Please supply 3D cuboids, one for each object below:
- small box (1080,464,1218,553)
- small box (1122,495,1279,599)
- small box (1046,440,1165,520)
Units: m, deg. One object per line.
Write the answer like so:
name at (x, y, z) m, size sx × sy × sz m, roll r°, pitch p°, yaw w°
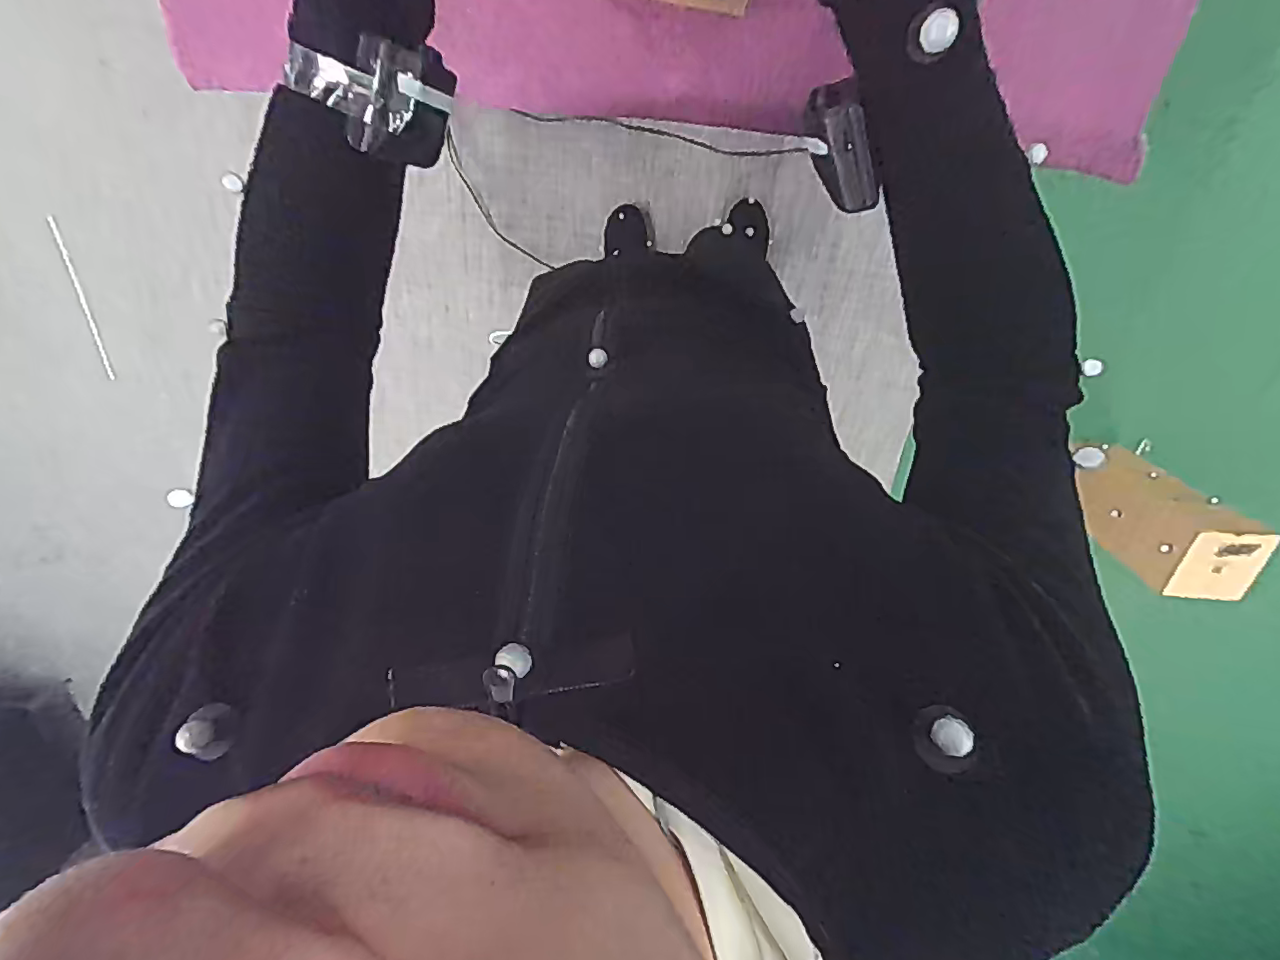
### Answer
small box at (1.289, 0.078, 1.390) m, size 0.168 × 0.176 × 0.179 m, roll 6°, pitch 117°, yaw 3°
small box at (1.274, 0.148, 1.243) m, size 0.168 × 0.176 × 0.179 m, roll 4°, pitch 118°, yaw 5°
small box at (1.303, 0.003, 1.533) m, size 0.168 × 0.176 × 0.179 m, roll 4°, pitch 118°, yaw 3°
